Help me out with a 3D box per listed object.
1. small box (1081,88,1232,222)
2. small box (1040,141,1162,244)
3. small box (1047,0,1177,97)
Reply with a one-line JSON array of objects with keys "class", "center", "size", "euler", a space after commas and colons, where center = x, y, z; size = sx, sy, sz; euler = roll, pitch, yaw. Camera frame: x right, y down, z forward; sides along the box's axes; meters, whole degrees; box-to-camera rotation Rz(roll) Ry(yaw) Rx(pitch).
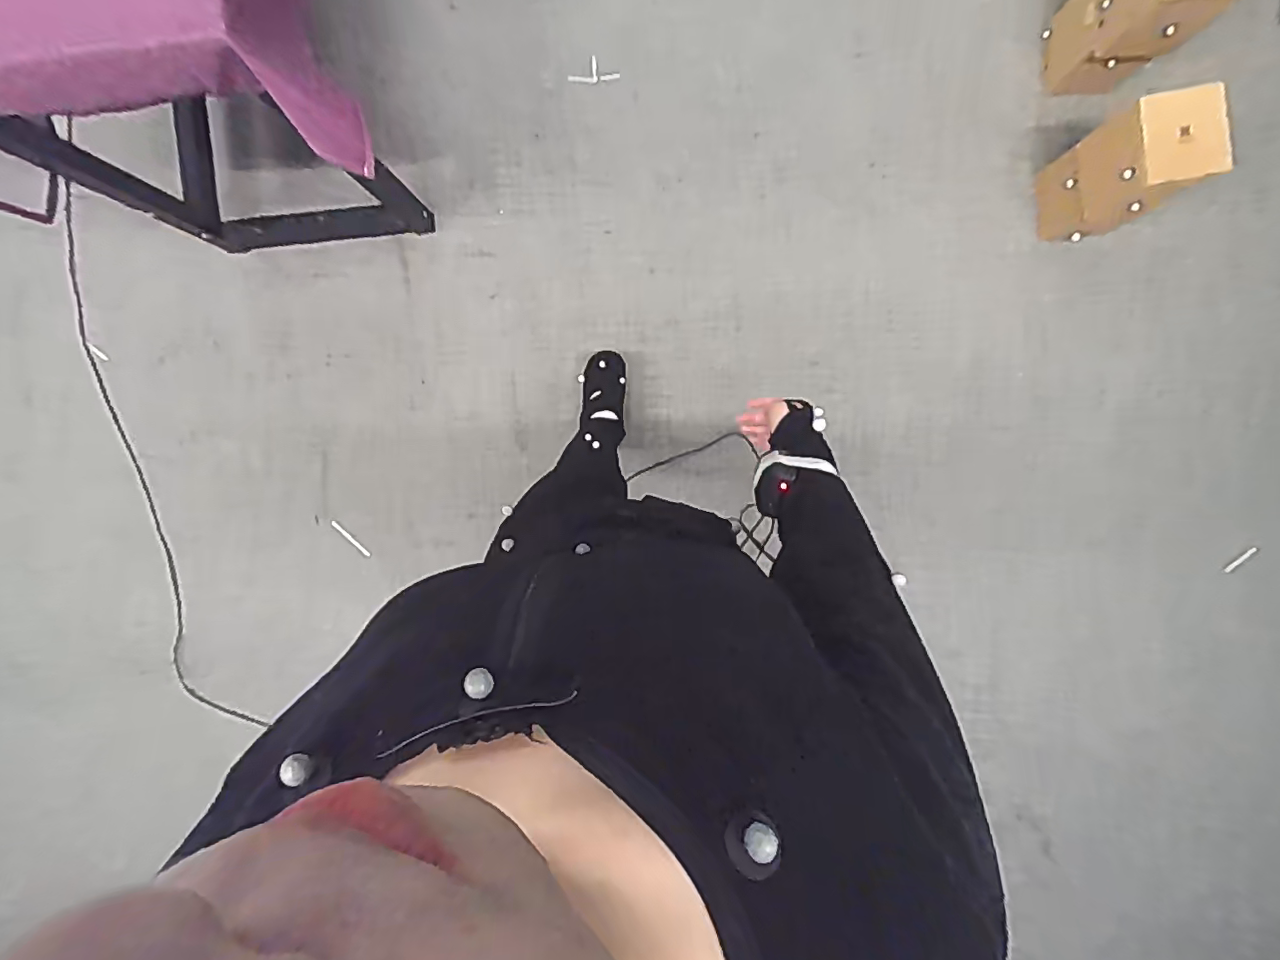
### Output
[{"class": "small box", "center": [1.089, -0.683, 1.154], "size": [0.168, 0.176, 0.179], "euler": [-9, 94, 3]}, {"class": "small box", "center": [1.112, -0.697, 1.315], "size": [0.168, 0.176, 0.179], "euler": [-4, 94, 4]}, {"class": "small box", "center": [1.116, -1.051, 1.290], "size": [0.179, 0.176, 0.168], "euler": [-1, 94, 2]}]
